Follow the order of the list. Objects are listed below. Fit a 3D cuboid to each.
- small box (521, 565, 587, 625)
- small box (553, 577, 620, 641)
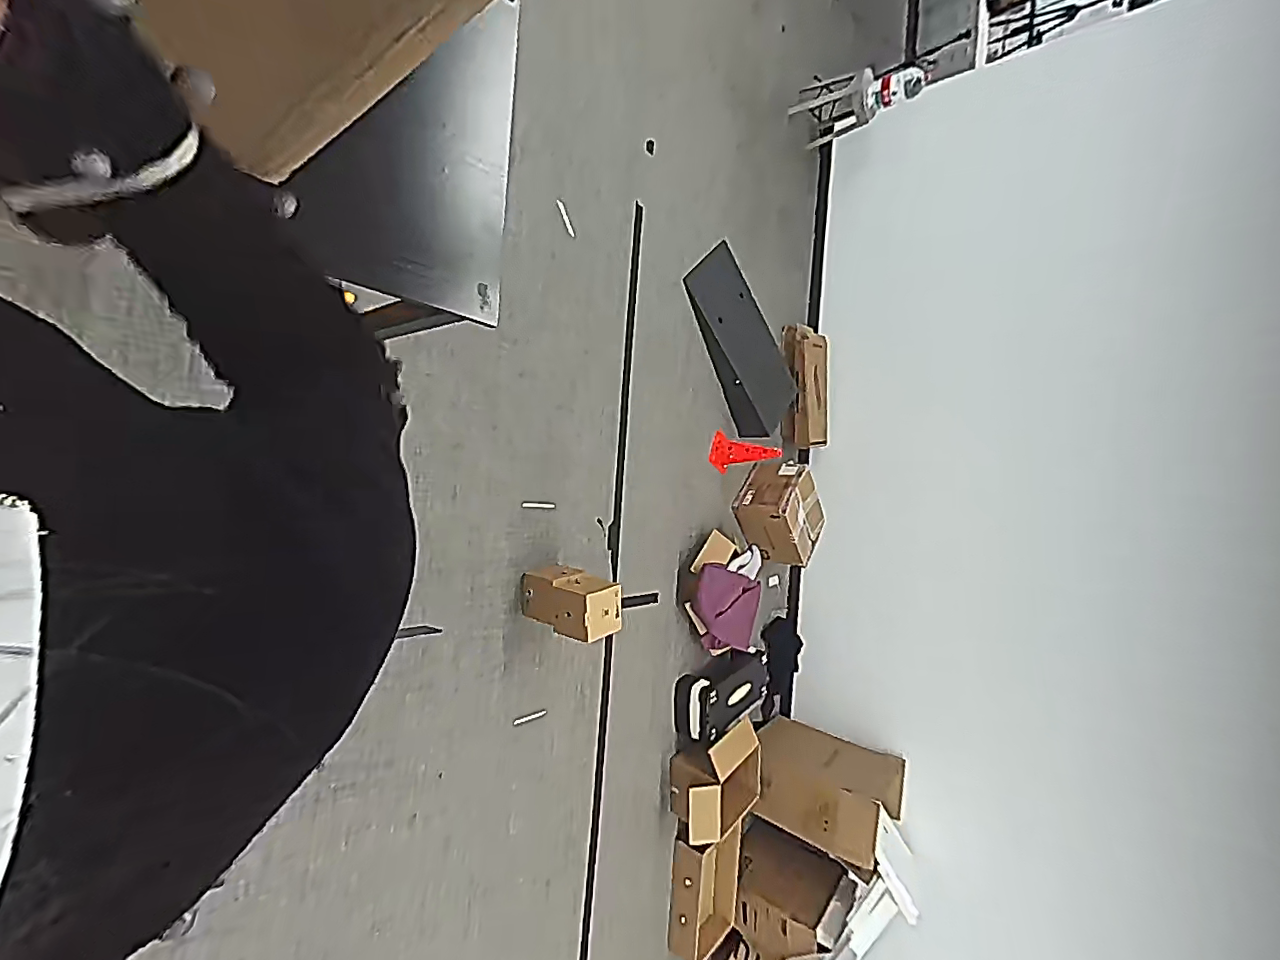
[{"bbox_3d":[-0.315,0.416,1.980,0.179,0.176,0.168,-4,95,-50],"label":"small box"},{"bbox_3d":[-0.189,0.442,1.877,0.179,0.176,0.168,-6,97,-50],"label":"small box"}]
